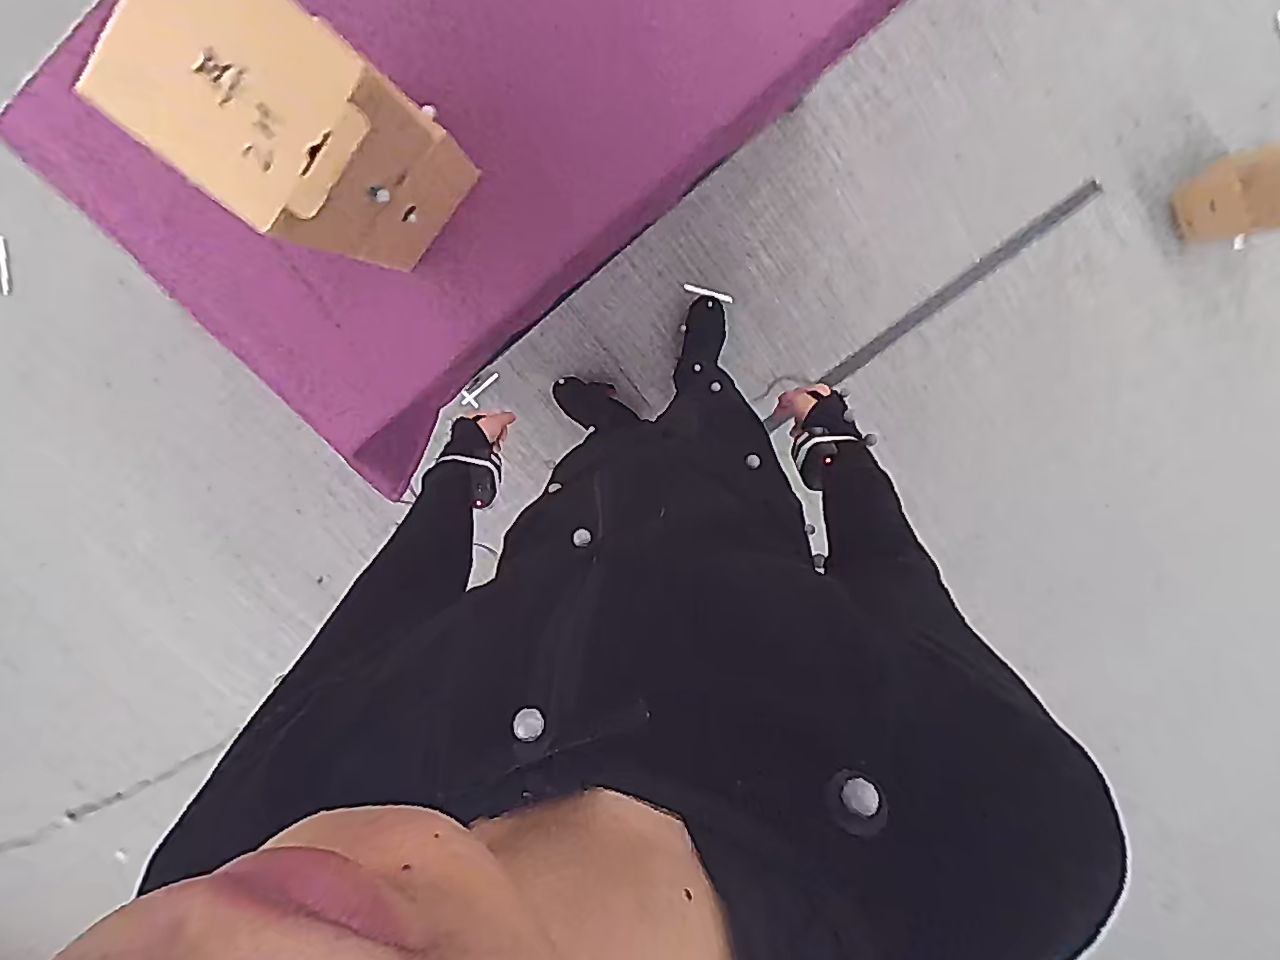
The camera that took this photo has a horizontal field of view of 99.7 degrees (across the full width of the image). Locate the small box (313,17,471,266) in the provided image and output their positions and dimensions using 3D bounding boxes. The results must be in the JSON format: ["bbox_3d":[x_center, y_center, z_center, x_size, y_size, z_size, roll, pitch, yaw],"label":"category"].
[{"bbox_3d":[-0.337,-0.393,0.672,0.168,0.176,0.179,39,100,-12],"label":"small box"}]

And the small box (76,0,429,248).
[{"bbox_3d":[-0.340,-0.346,0.514,0.179,0.176,0.168,38,101,-12],"label":"small box"}]

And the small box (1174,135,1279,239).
[{"bbox_3d":[1.553,-0.754,1.405,0.179,0.176,0.168,-34,105,7],"label":"small box"}]
